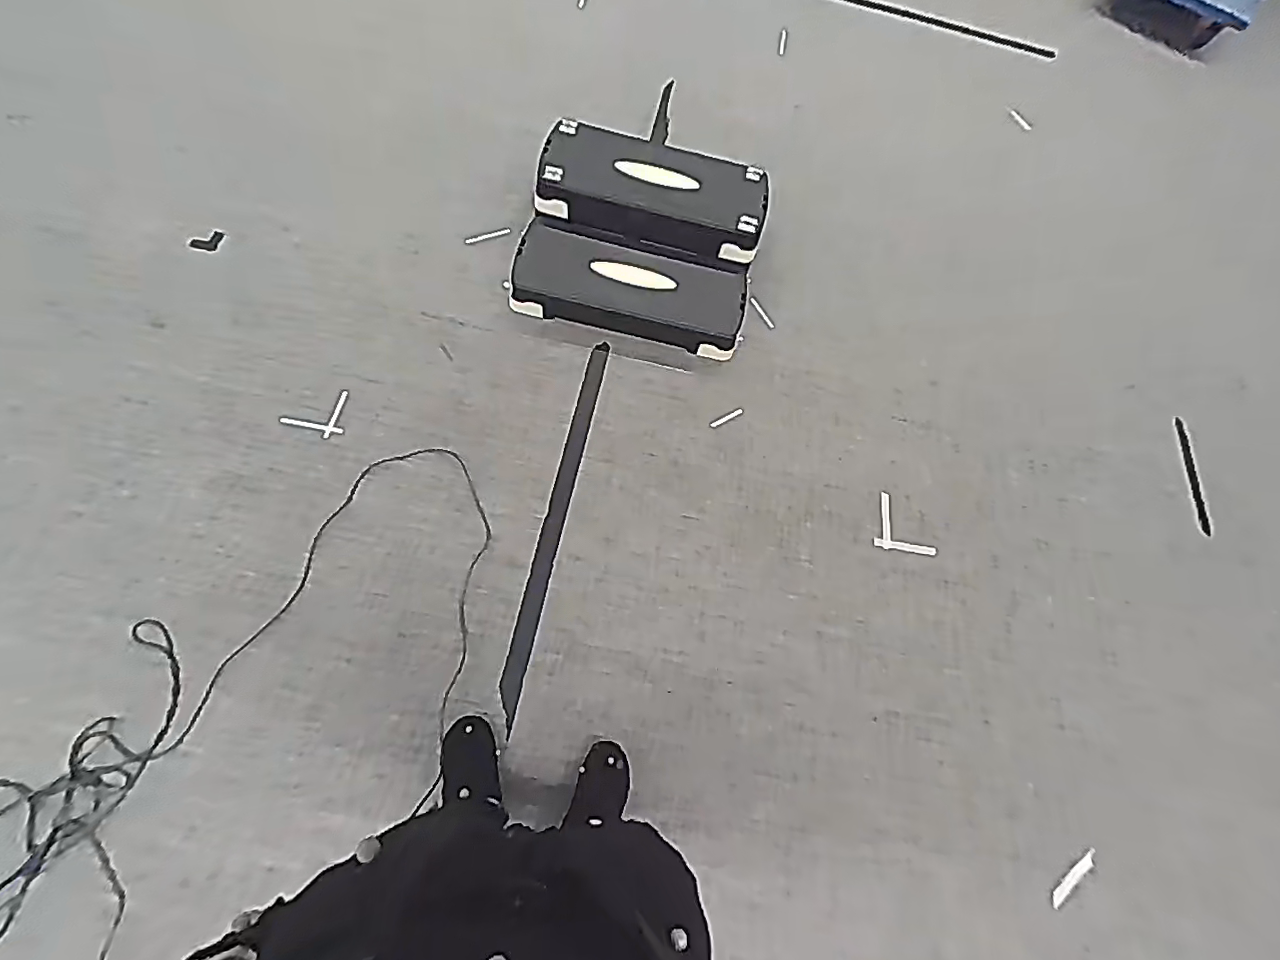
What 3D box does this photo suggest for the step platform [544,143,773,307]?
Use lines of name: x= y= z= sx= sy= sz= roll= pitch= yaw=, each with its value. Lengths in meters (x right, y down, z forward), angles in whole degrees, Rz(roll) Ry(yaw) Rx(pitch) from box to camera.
step platform: x=0.057 y=-0.783 z=1.665 sx=0.684 sy=0.204 sz=0.286 roll=17 pitch=66 yaw=-2
